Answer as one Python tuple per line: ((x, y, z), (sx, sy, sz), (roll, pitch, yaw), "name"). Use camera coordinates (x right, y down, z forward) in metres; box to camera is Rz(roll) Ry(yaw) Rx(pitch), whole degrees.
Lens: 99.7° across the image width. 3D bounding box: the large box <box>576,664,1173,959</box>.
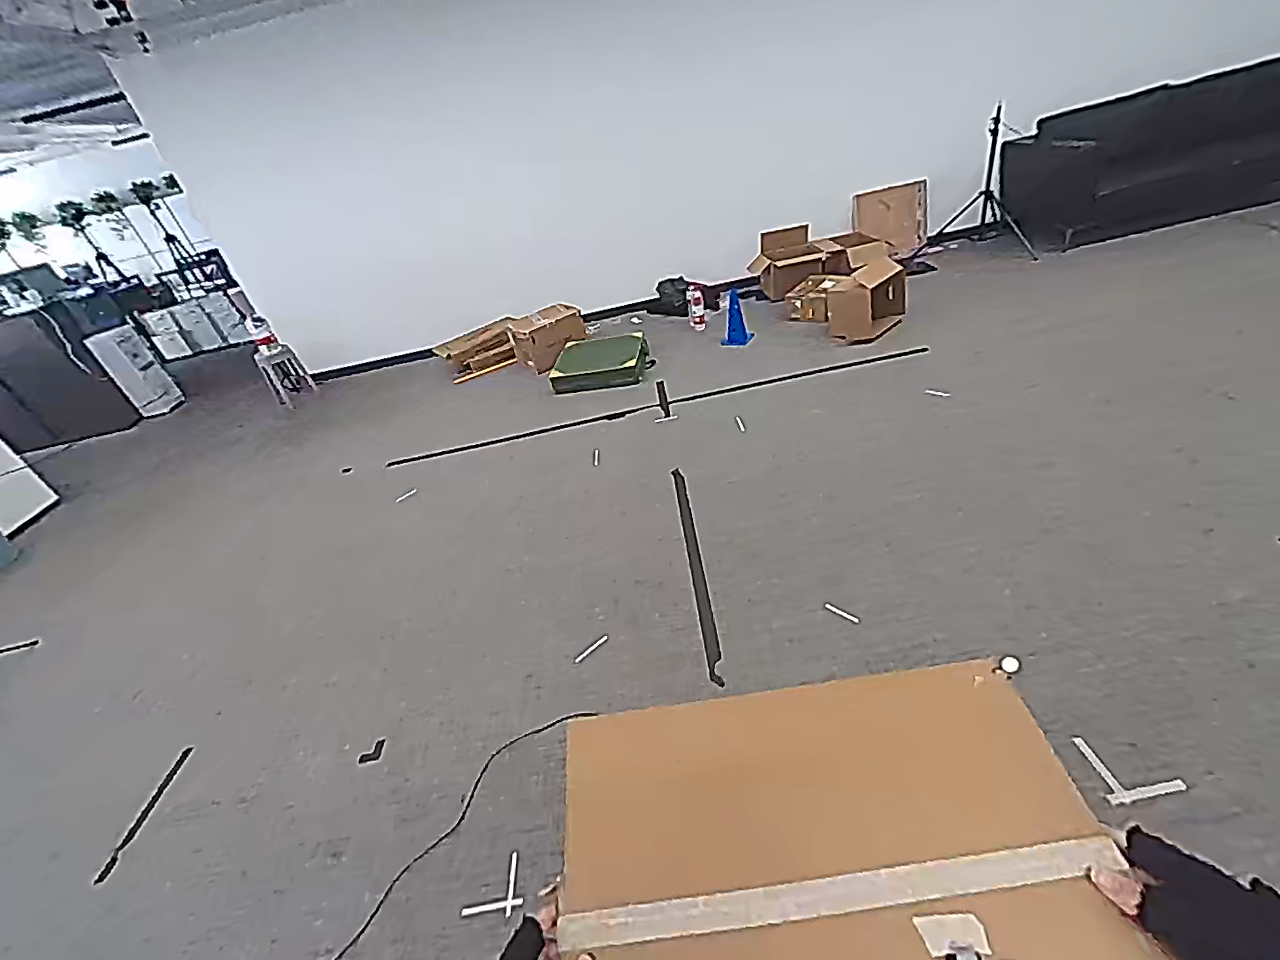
((0.167, 0.418, 0.502), (0.408, 0.320, 0.320), (-9, 43, 1), "large box")
